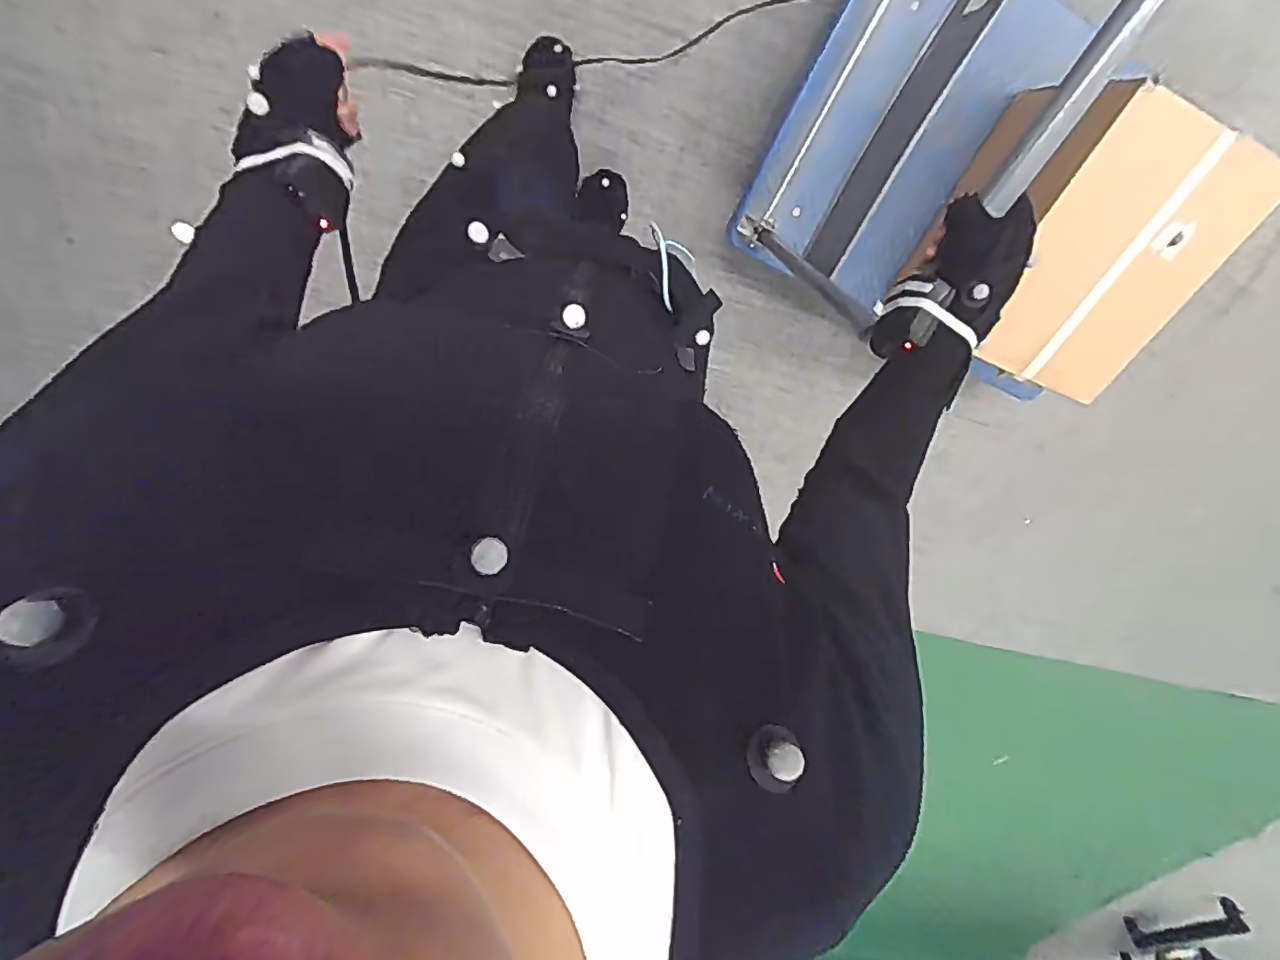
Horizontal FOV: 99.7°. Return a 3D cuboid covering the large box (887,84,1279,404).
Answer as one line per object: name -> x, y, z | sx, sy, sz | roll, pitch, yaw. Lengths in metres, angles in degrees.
large box -> 0.742, -0.416, 0.989 | 0.320, 0.320, 0.408 | 18, 120, -12
